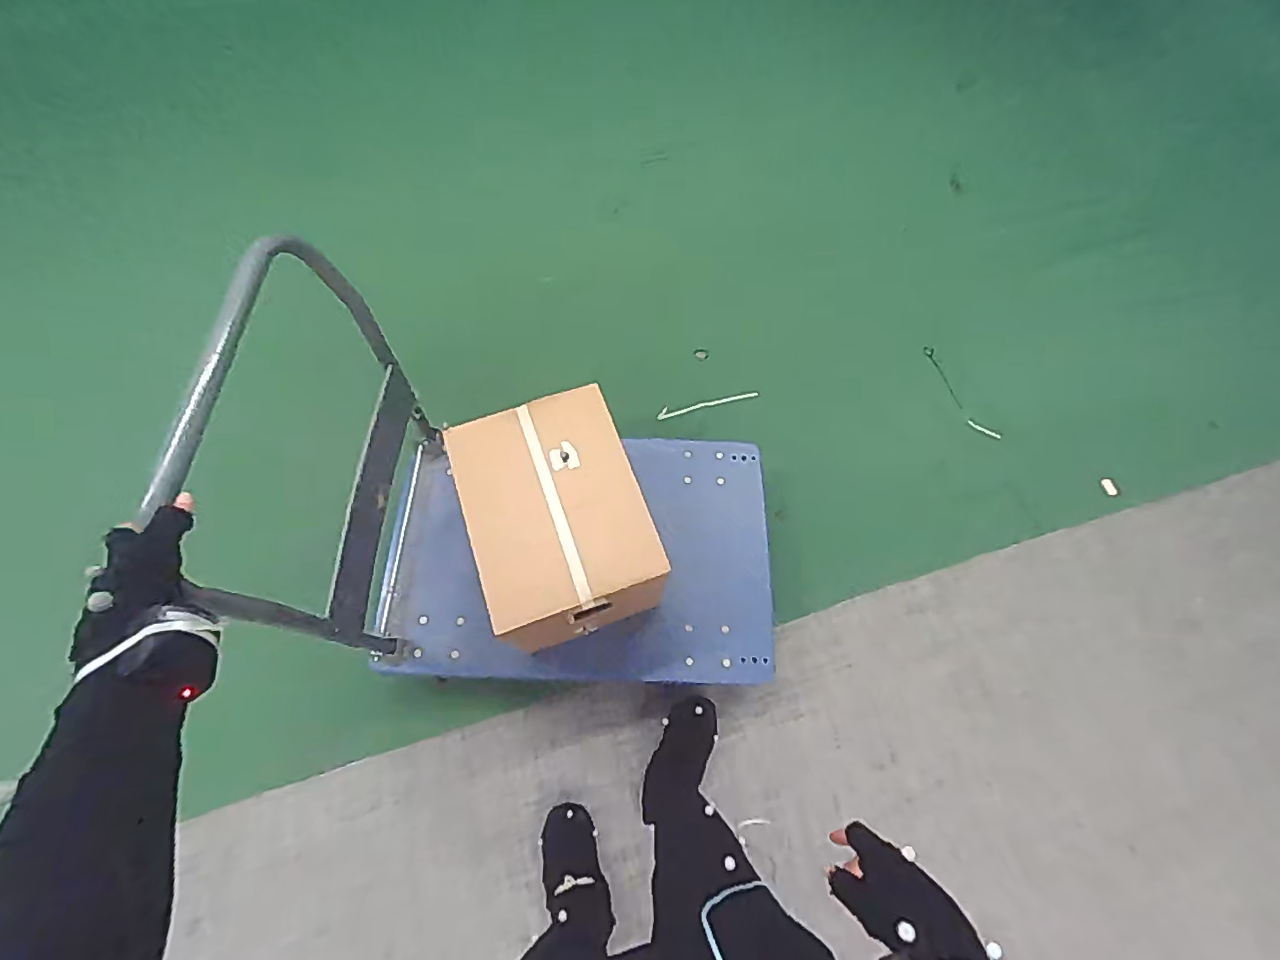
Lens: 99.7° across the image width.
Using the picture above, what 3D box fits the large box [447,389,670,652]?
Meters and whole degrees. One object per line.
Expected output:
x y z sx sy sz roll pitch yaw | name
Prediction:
-0.158 0.095 1.123 0.320 0.320 0.408 -19 68 -9 | large box
